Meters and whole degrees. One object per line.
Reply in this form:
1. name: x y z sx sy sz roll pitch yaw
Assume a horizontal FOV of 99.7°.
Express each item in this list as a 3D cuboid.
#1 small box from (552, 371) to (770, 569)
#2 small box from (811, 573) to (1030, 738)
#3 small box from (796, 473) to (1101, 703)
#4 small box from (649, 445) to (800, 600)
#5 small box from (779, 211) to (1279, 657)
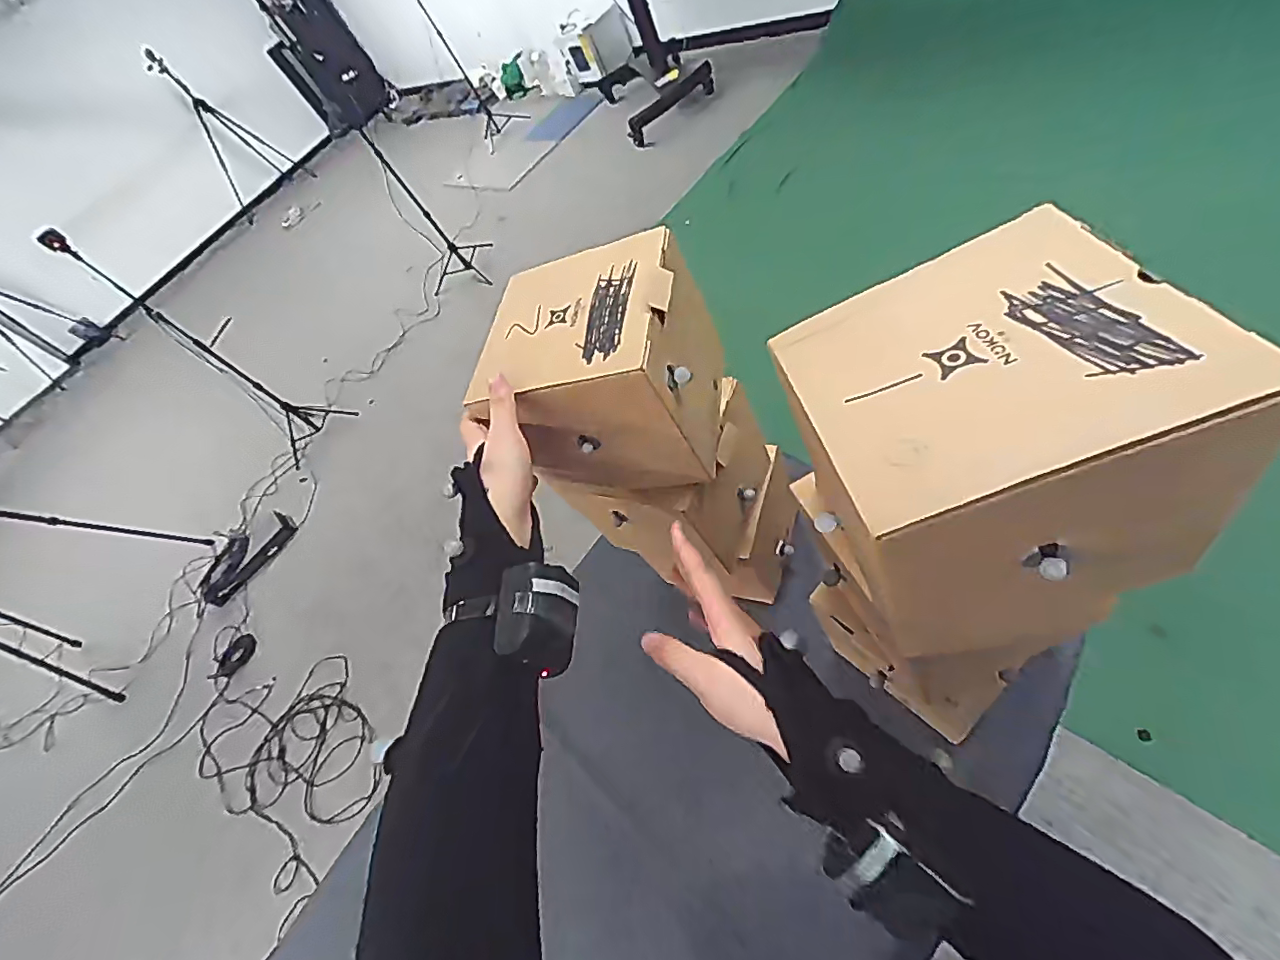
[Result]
1. small box: 0.035 -0.009 0.643 0.179 0.176 0.168 10 66 32
2. small box: 0.323 0.149 0.592 0.179 0.176 0.168 -46 46 -7
3. small box: 0.265 0.064 0.464 0.179 0.176 0.168 -30 46 7
4. small box: 0.115 0.058 0.773 0.179 0.176 0.168 6 64 29
5. small box: 0.208 -0.015 0.329 0.179 0.176 0.168 -23 47 14
